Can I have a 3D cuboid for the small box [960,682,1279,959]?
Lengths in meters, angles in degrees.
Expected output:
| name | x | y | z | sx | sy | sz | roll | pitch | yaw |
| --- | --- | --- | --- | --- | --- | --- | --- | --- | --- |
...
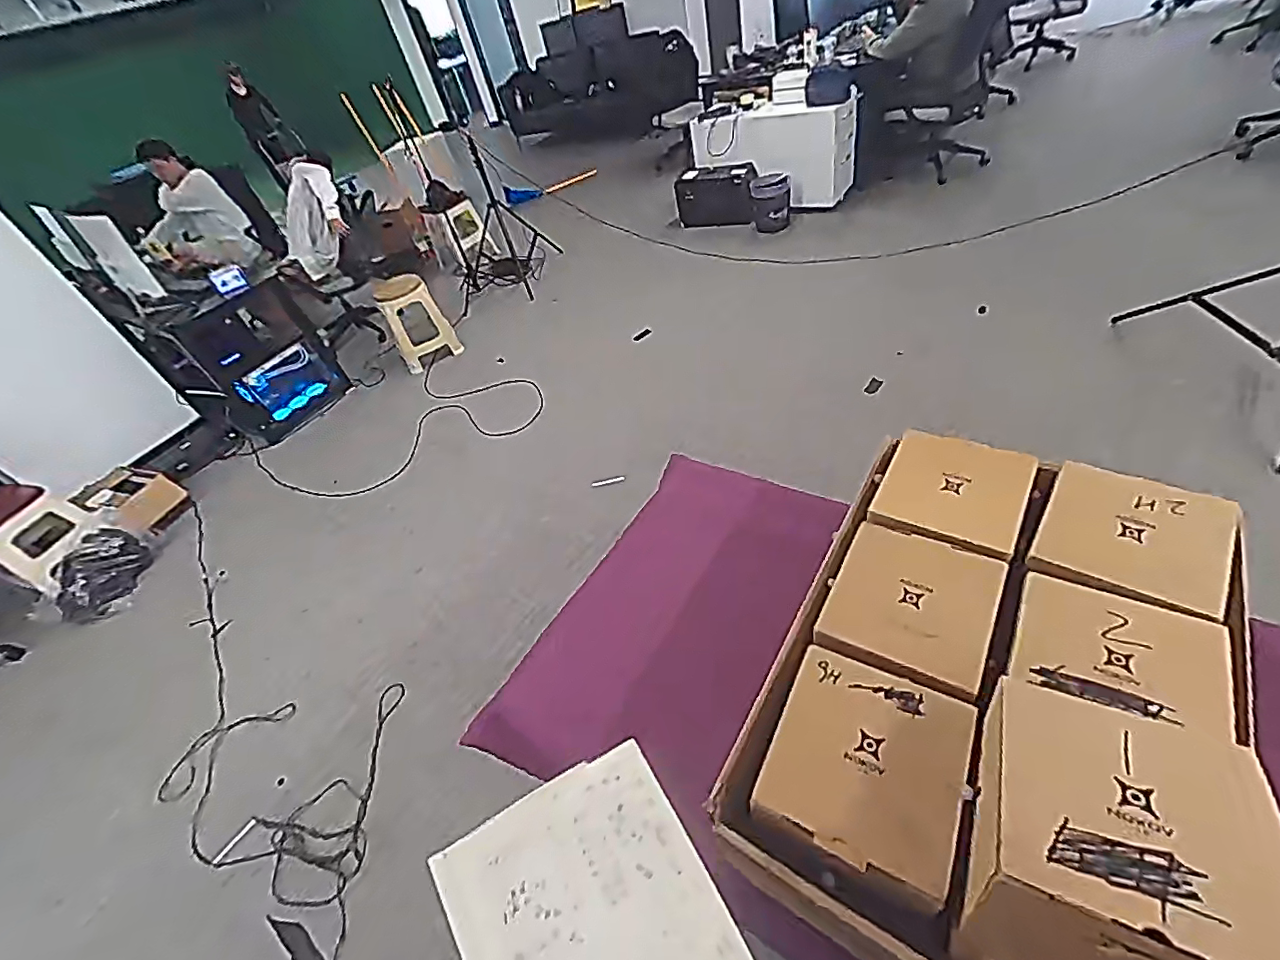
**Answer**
| name | x | y | z | sx | sy | sz | roll | pitch | yaw |
| --- | --- | --- | --- | --- | --- | --- | --- | --- | --- |
| small box | 0.363 | 0.303 | 0.422 | 0.168 | 0.176 | 0.179 | 13 | 38 | 27 |
